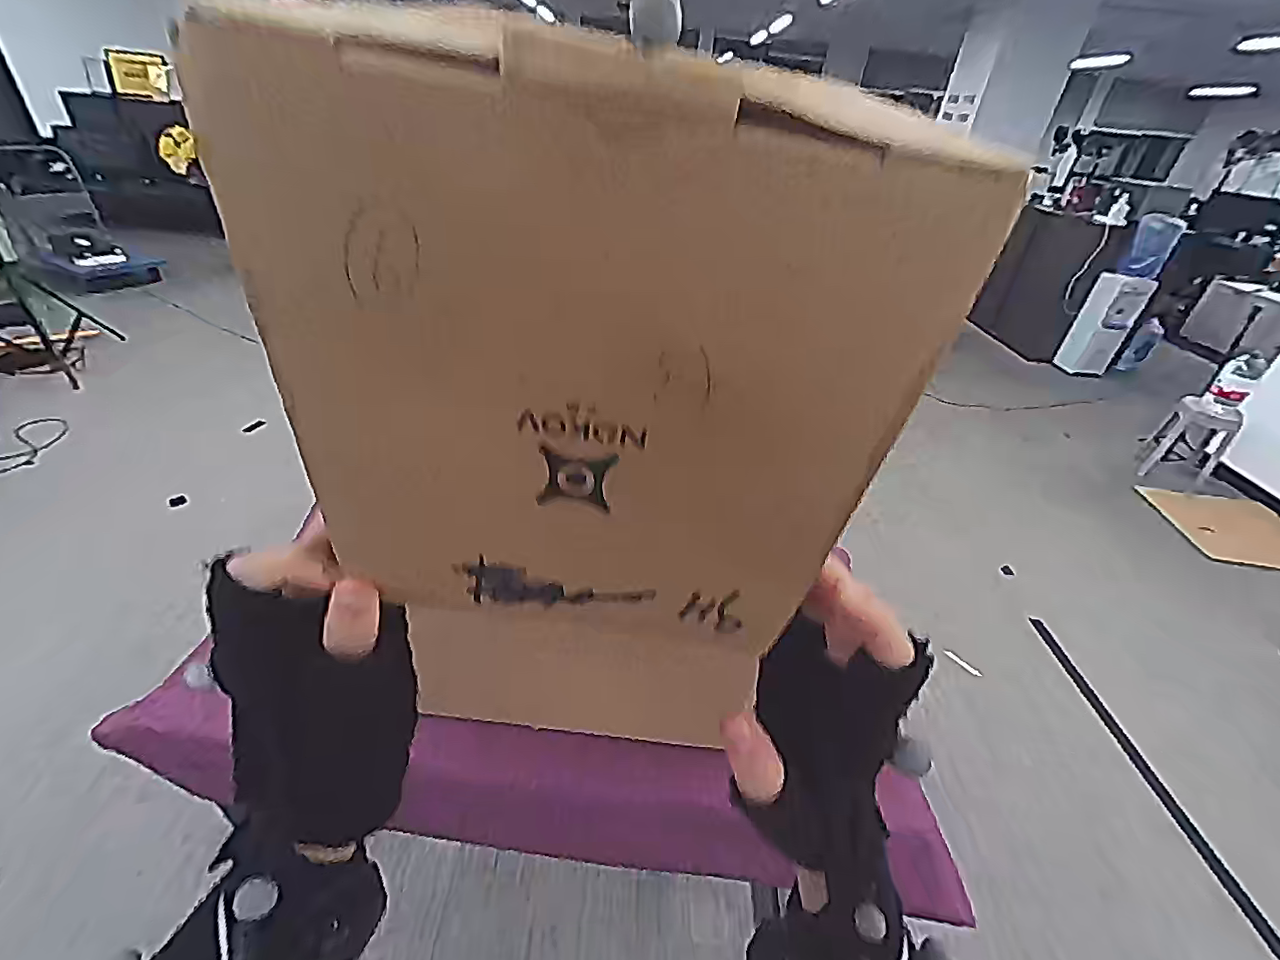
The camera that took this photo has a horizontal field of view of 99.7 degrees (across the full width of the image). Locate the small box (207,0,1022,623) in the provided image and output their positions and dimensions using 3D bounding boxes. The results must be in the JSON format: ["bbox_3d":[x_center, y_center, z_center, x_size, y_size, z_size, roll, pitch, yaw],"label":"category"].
[{"bbox_3d":[-0.011,-0.071,0.218,0.168,0.179,0.176,9,40,-3],"label":"small box"}]
